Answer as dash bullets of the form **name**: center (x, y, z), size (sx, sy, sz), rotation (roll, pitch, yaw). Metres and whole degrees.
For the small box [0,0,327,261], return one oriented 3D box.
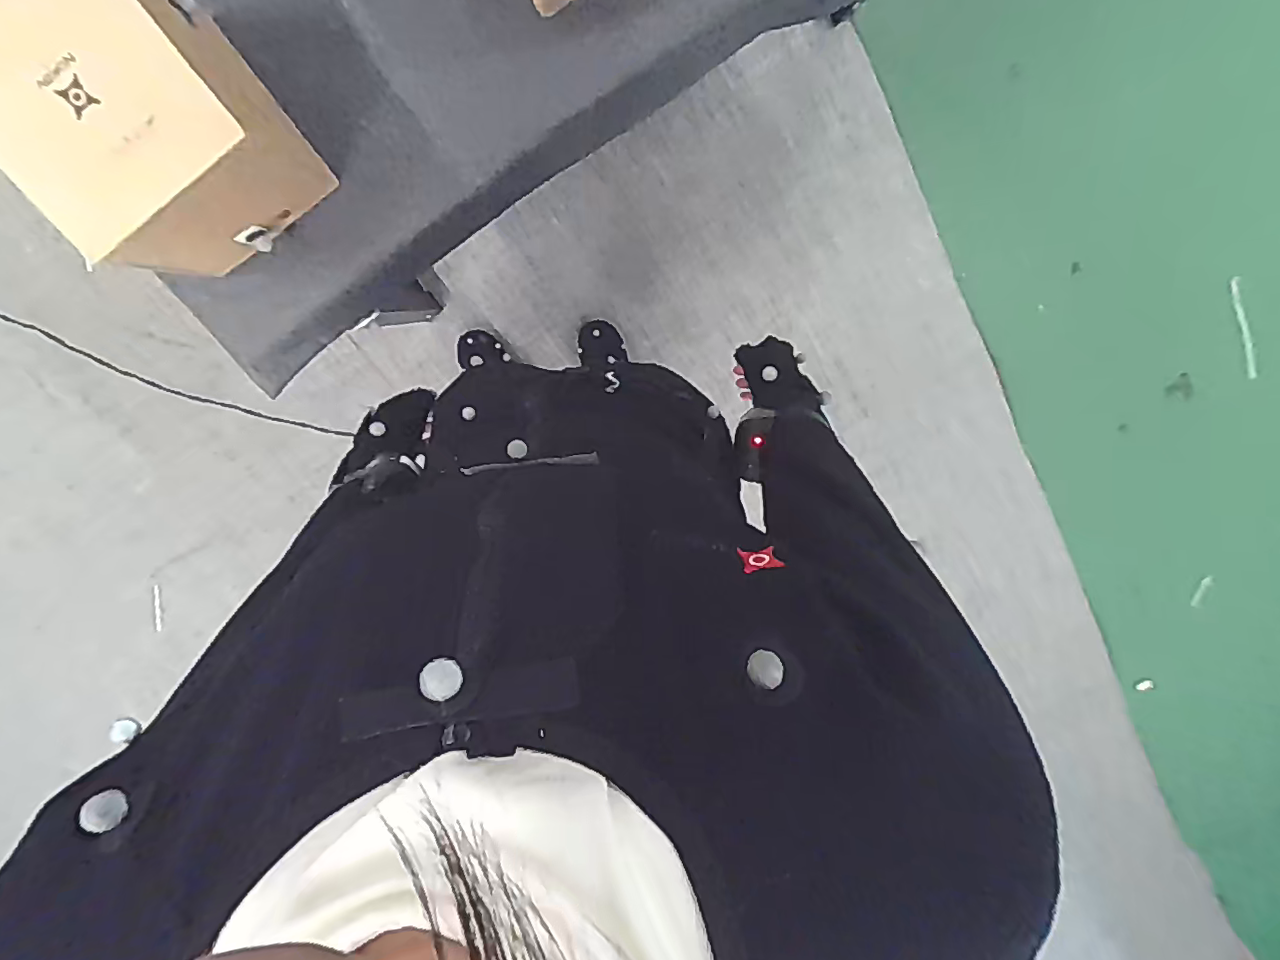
- **small box**: center (-0.414, -0.305, 0.448), size (0.168, 0.176, 0.179), rotation (-32, 107, 7)
